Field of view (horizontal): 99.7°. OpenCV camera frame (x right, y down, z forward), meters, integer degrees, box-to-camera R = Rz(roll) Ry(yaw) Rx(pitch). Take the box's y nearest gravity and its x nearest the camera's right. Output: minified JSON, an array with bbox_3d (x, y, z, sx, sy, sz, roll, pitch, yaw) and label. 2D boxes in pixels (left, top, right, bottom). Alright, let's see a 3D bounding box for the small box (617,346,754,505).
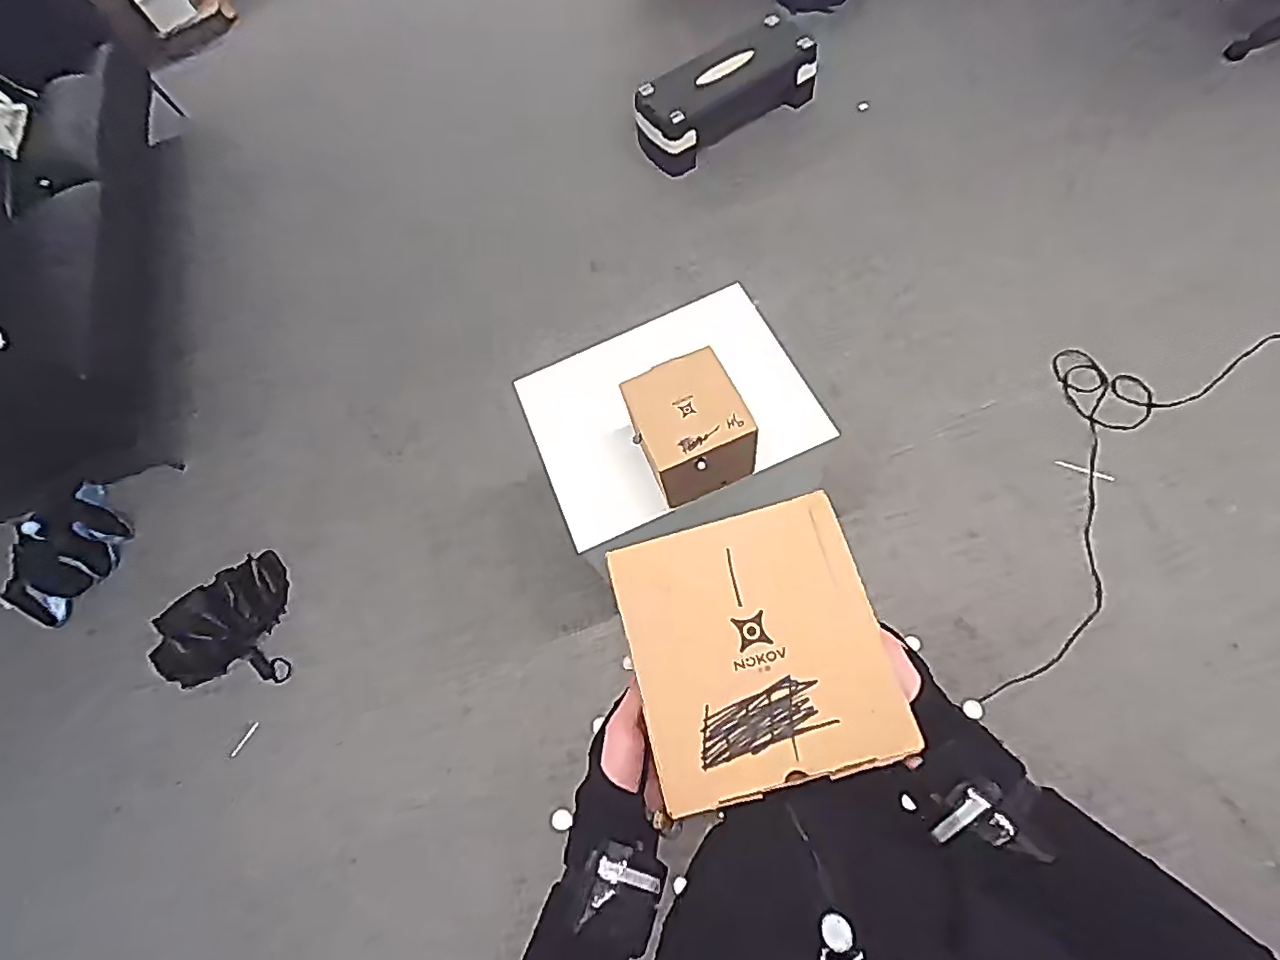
[{"bbox_3d":[0.077,-0.085,0.913,0.168,0.176,0.179,-24,65,-1],"label":"small box"}]
